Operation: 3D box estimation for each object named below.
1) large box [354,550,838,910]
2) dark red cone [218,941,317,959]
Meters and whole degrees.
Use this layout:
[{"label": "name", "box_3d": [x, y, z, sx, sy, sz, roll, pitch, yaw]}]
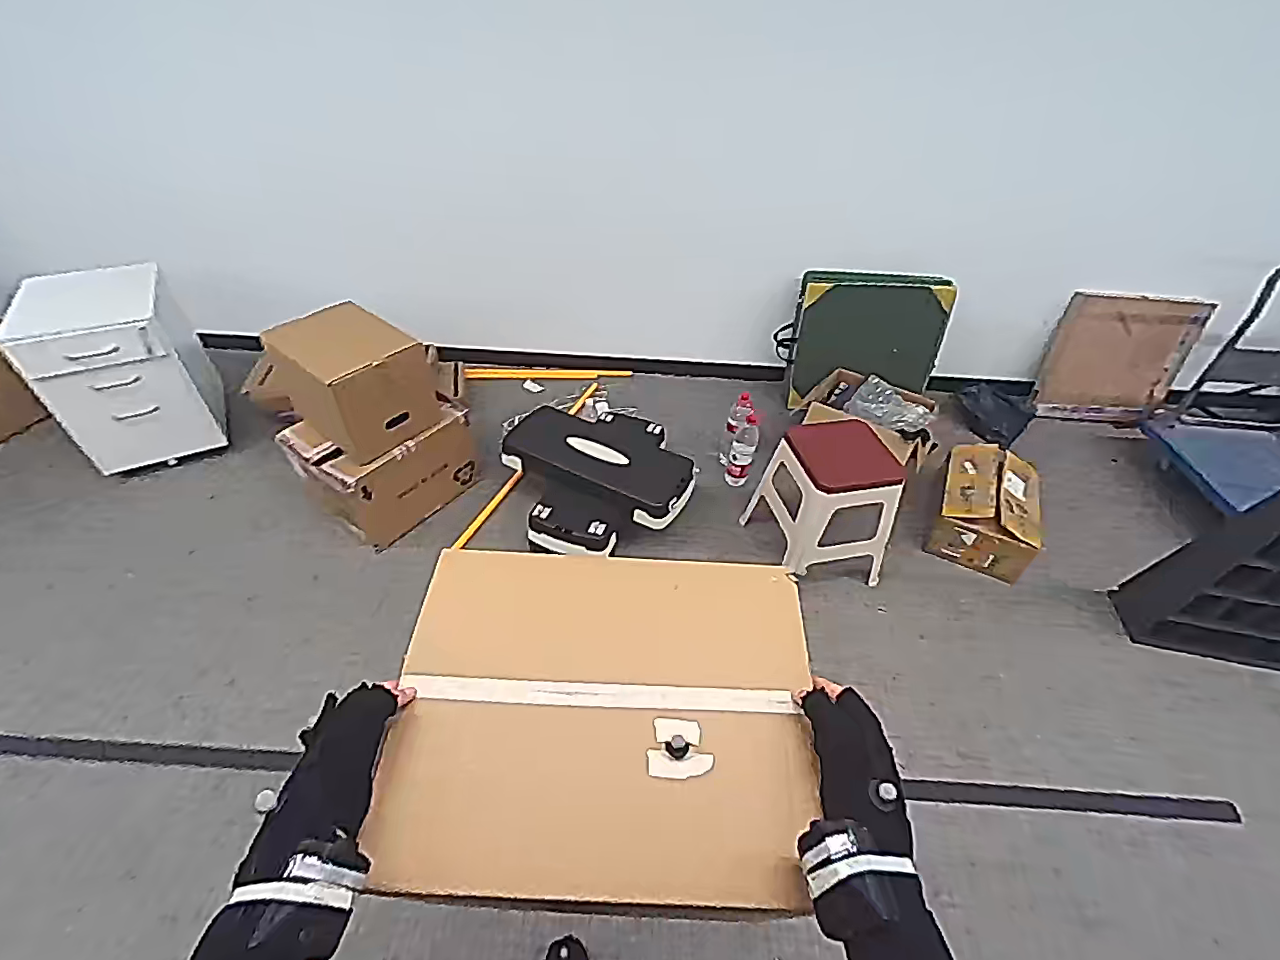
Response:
[{"label": "large box", "box_3d": [-0.038, 0.304, 0.645, 0.408, 0.320, 0.320, 4, 50, 0]}, {"label": "dark red cone", "box_3d": [-0.728, 0.879, 0.895, 0.201, 0.394, 0.202, 9, 43, 4]}]
